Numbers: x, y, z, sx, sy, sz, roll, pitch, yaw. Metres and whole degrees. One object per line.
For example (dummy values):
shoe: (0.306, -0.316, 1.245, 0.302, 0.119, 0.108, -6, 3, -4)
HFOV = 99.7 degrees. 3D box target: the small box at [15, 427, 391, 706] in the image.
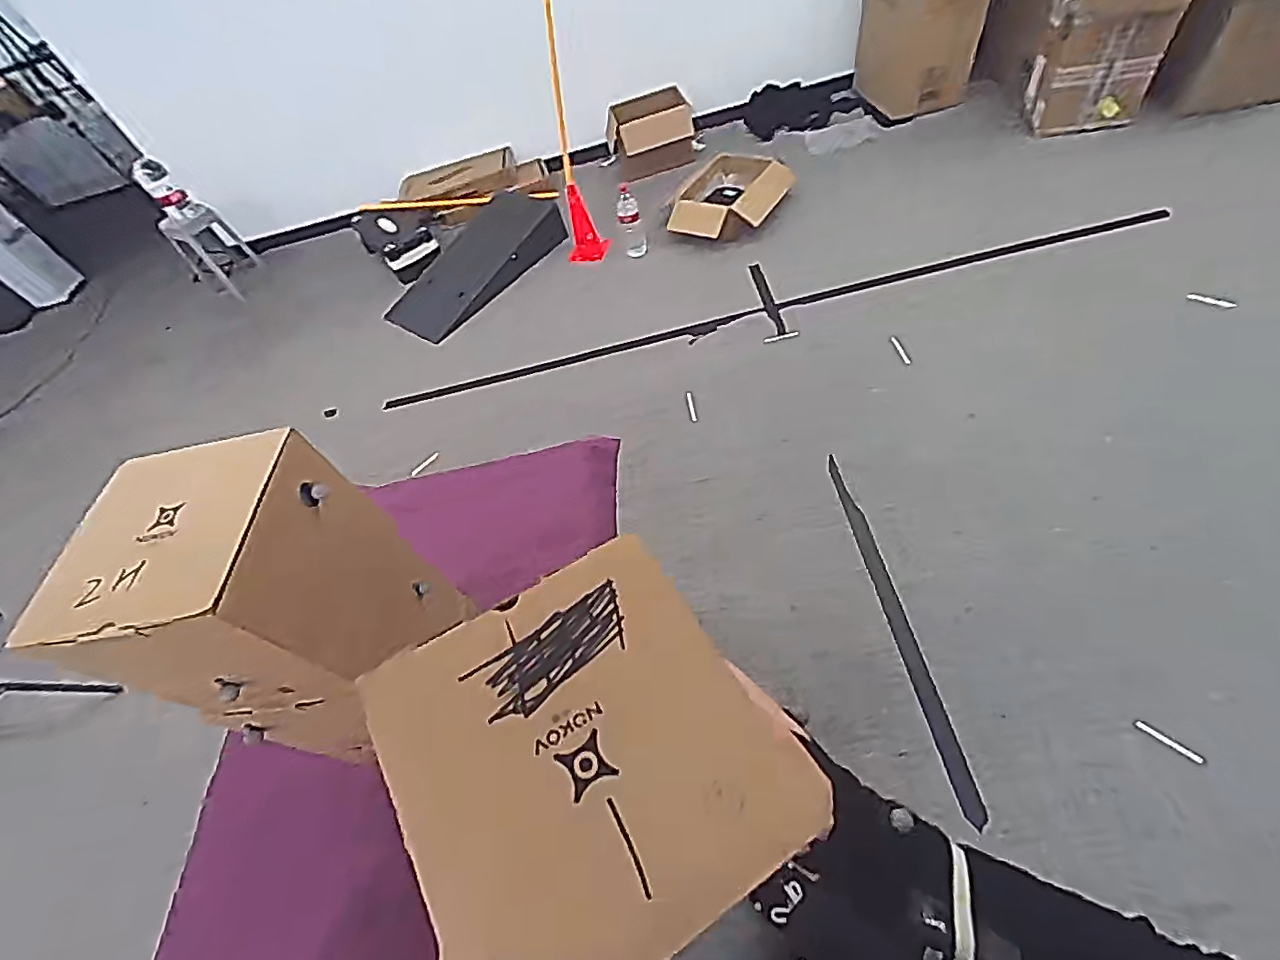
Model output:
small box: (-0.352, 0.083, 0.485, 0.168, 0.176, 0.179, -11, 52, 7)

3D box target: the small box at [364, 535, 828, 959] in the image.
small box: (-0.029, 0.171, 0.323, 0.168, 0.176, 0.179, -28, 61, -17)

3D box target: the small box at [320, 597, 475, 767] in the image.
small box: (-0.287, 0.284, 0.738, 0.168, 0.176, 0.179, -10, 52, 6)
